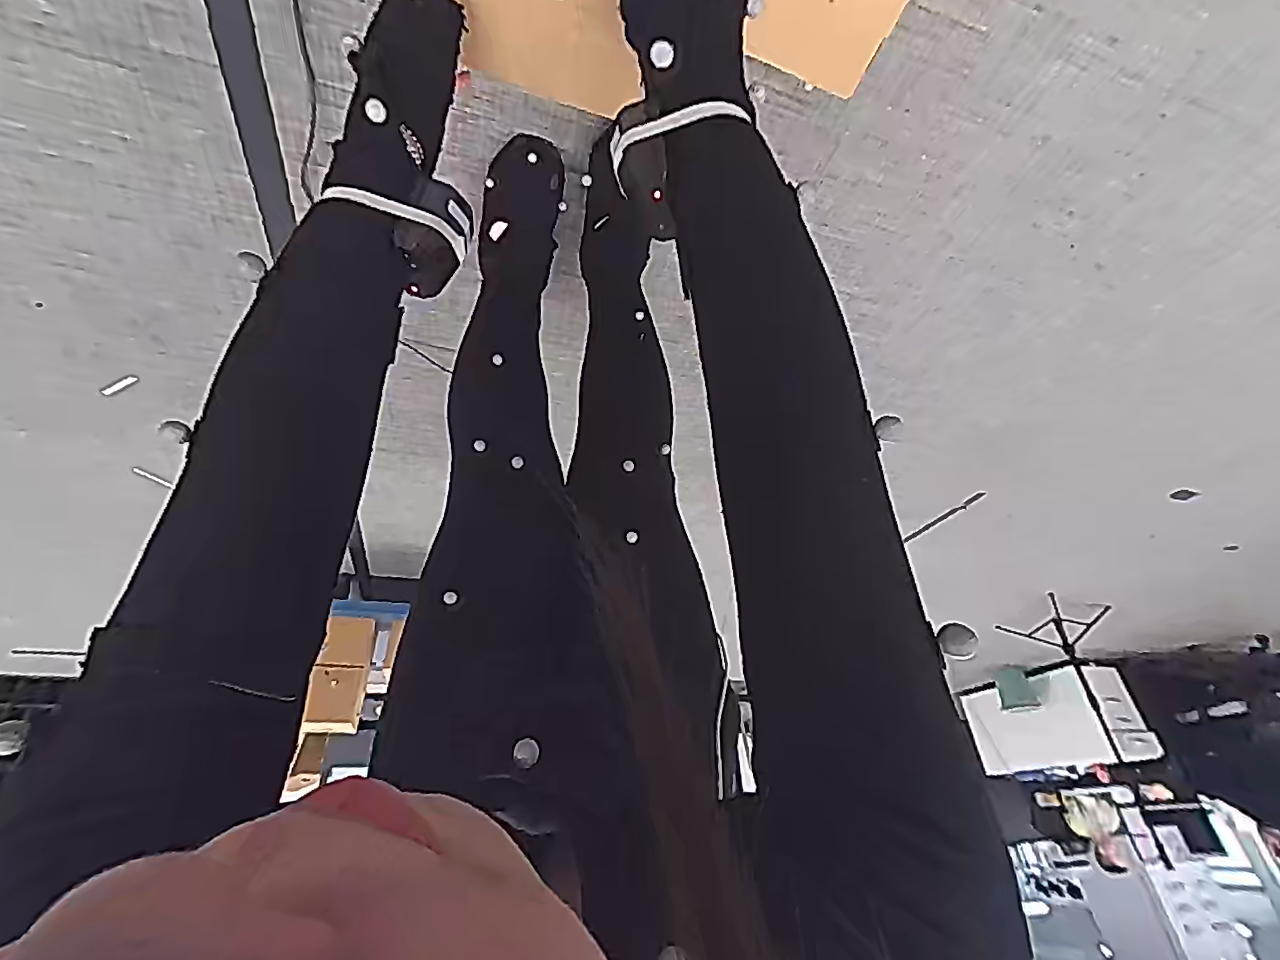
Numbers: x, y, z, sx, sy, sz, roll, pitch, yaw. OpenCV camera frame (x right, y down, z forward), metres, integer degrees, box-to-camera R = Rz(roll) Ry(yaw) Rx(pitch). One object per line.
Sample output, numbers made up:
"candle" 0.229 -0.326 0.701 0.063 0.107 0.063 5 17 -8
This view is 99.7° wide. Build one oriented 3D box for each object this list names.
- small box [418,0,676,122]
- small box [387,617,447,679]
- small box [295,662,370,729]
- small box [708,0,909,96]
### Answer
"small box" -0.060 -0.425 0.409 0.179 0.176 0.168 10 148 -18
"small box" -0.775 0.587 1.886 0.168 0.176 0.179 8 147 -14
"small box" -0.976 0.692 1.731 0.168 0.176 0.179 9 145 -17
"small box" 0.177 -0.546 0.554 0.179 0.176 0.168 8 145 -18
